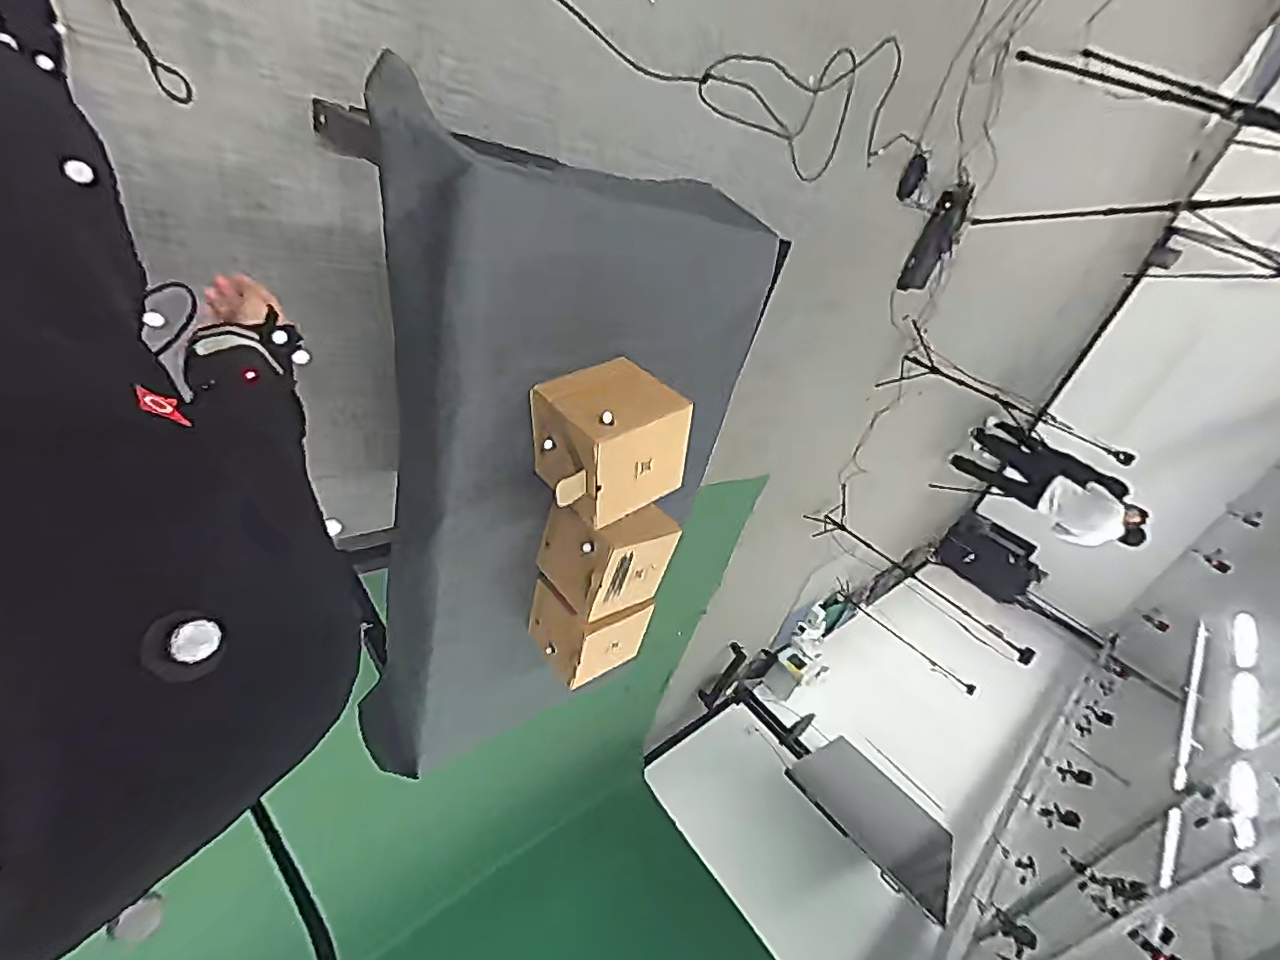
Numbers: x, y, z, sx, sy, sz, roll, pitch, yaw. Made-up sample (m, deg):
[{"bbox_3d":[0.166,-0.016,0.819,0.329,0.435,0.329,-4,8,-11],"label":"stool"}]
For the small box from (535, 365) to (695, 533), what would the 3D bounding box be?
[{"bbox_3d":[-0.042,-0.057,0.839,0.179,0.176,0.168,-26,140,-30],"label":"small box"}]
